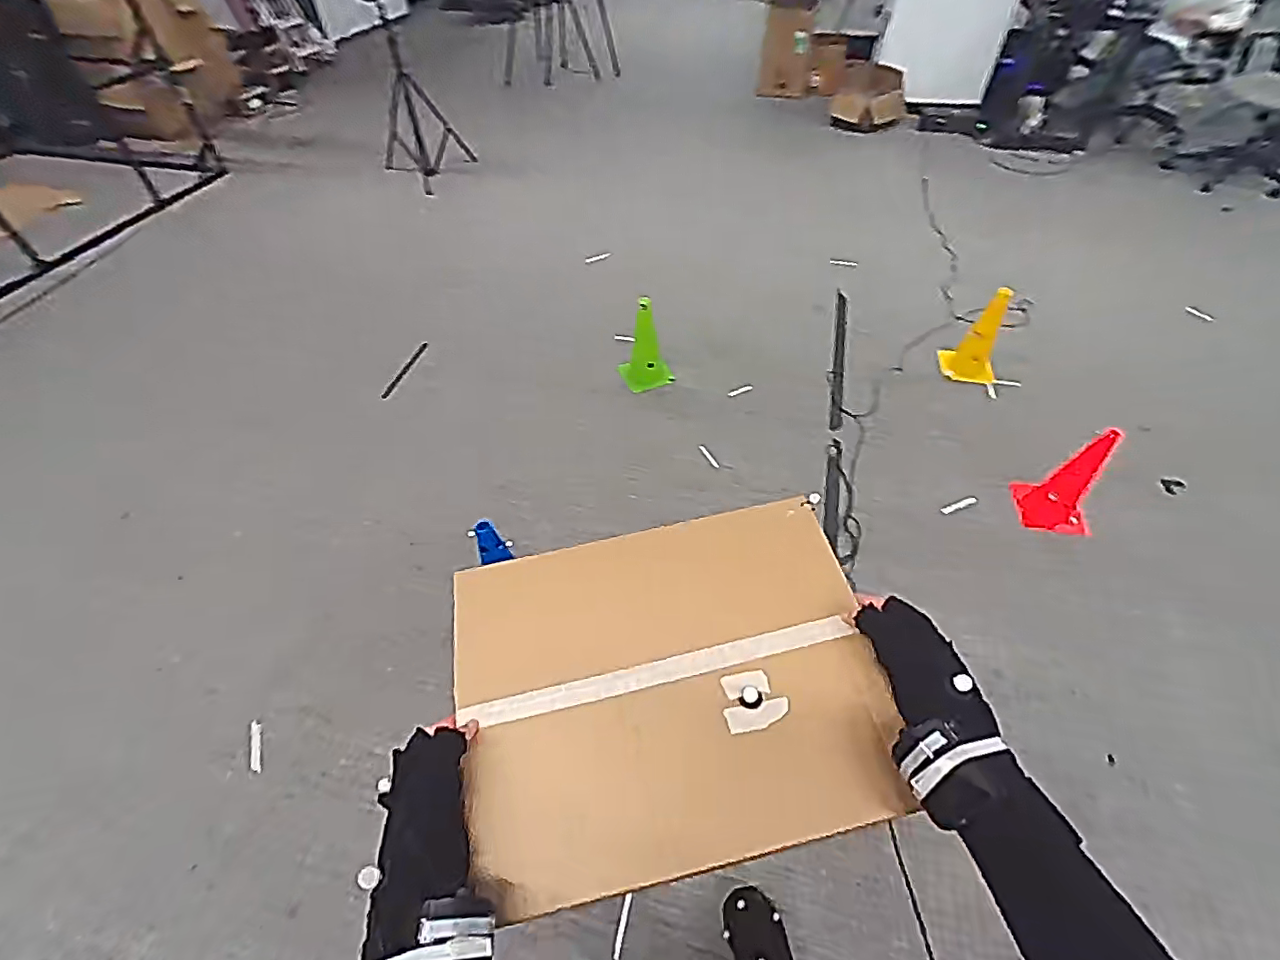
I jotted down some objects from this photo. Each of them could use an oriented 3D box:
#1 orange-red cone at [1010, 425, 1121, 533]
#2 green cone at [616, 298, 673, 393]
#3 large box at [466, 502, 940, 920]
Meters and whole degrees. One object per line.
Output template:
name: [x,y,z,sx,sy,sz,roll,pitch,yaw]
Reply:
orange-red cone: [1.353,-0.029,1.674,0.198,0.360,0.199,8,49,8]
green cone: [0.010,-0.570,2.192,0.202,0.368,0.200,-20,51,-13]
large box: [0.039,0.273,0.644,0.408,0.320,0.320,-11,54,-4]
